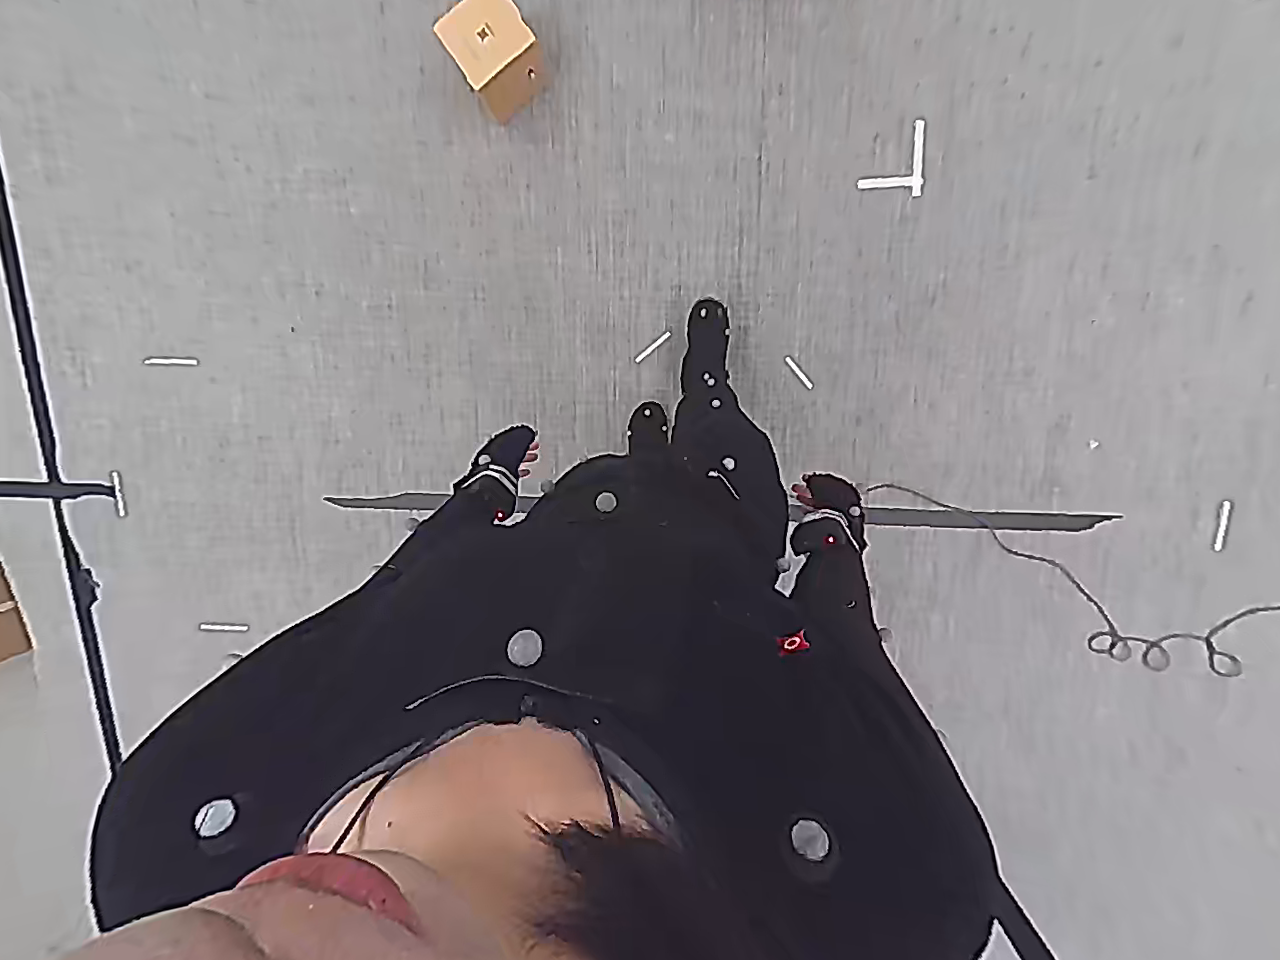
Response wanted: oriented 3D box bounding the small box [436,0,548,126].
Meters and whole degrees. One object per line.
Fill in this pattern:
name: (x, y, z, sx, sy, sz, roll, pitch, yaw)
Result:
small box: (-0.336, -0.993, 1.274, 0.179, 0.176, 0.168, -35, 95, 9)
